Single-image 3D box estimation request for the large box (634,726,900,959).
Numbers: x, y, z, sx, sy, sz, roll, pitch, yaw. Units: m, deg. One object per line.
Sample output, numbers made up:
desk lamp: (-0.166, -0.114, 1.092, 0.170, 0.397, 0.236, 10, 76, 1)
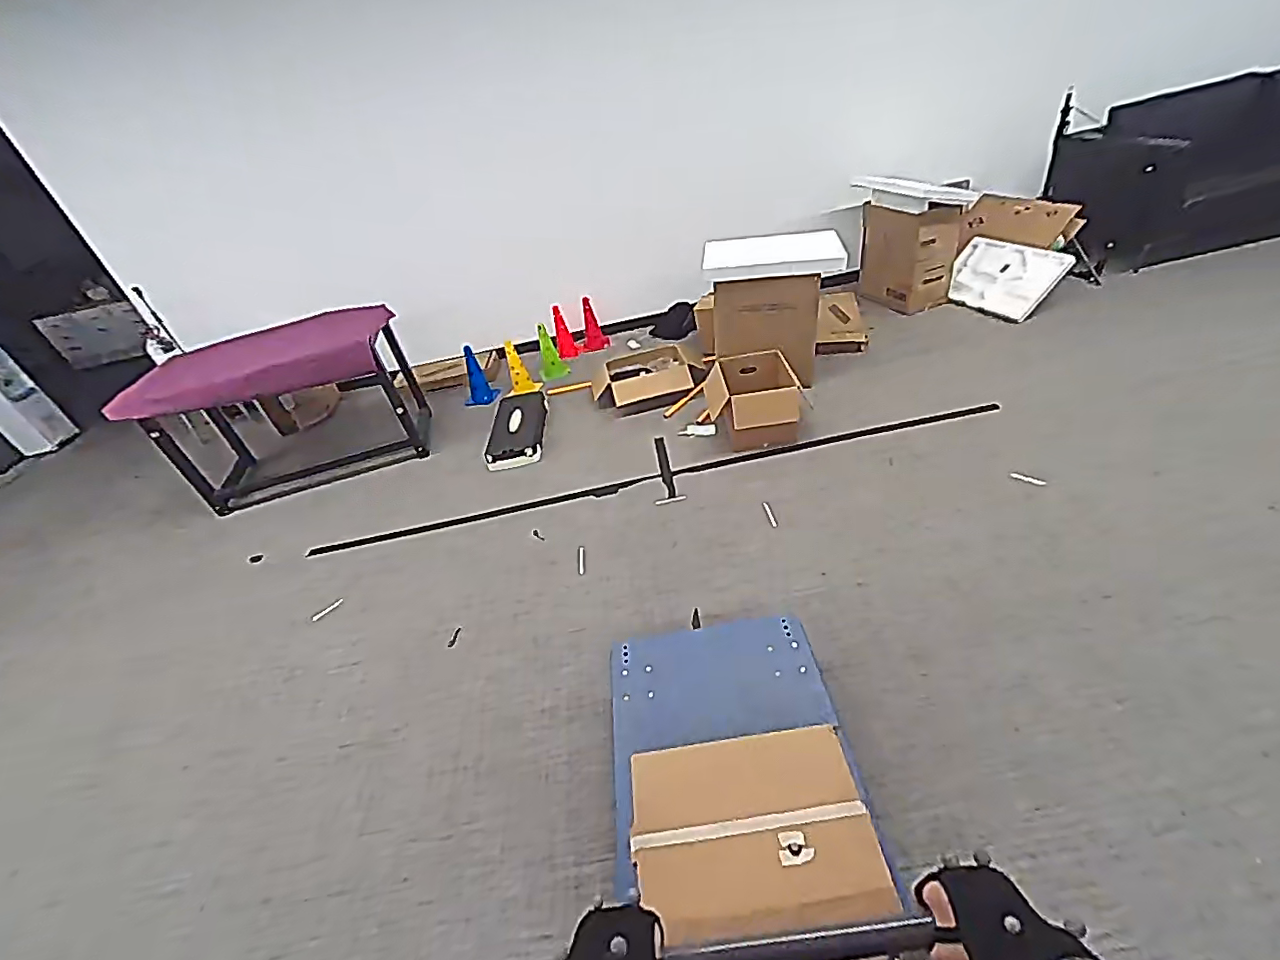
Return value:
large box: (0.216, 0.729, 1.042, 0.408, 0.320, 0.320, -9, 37, 1)
